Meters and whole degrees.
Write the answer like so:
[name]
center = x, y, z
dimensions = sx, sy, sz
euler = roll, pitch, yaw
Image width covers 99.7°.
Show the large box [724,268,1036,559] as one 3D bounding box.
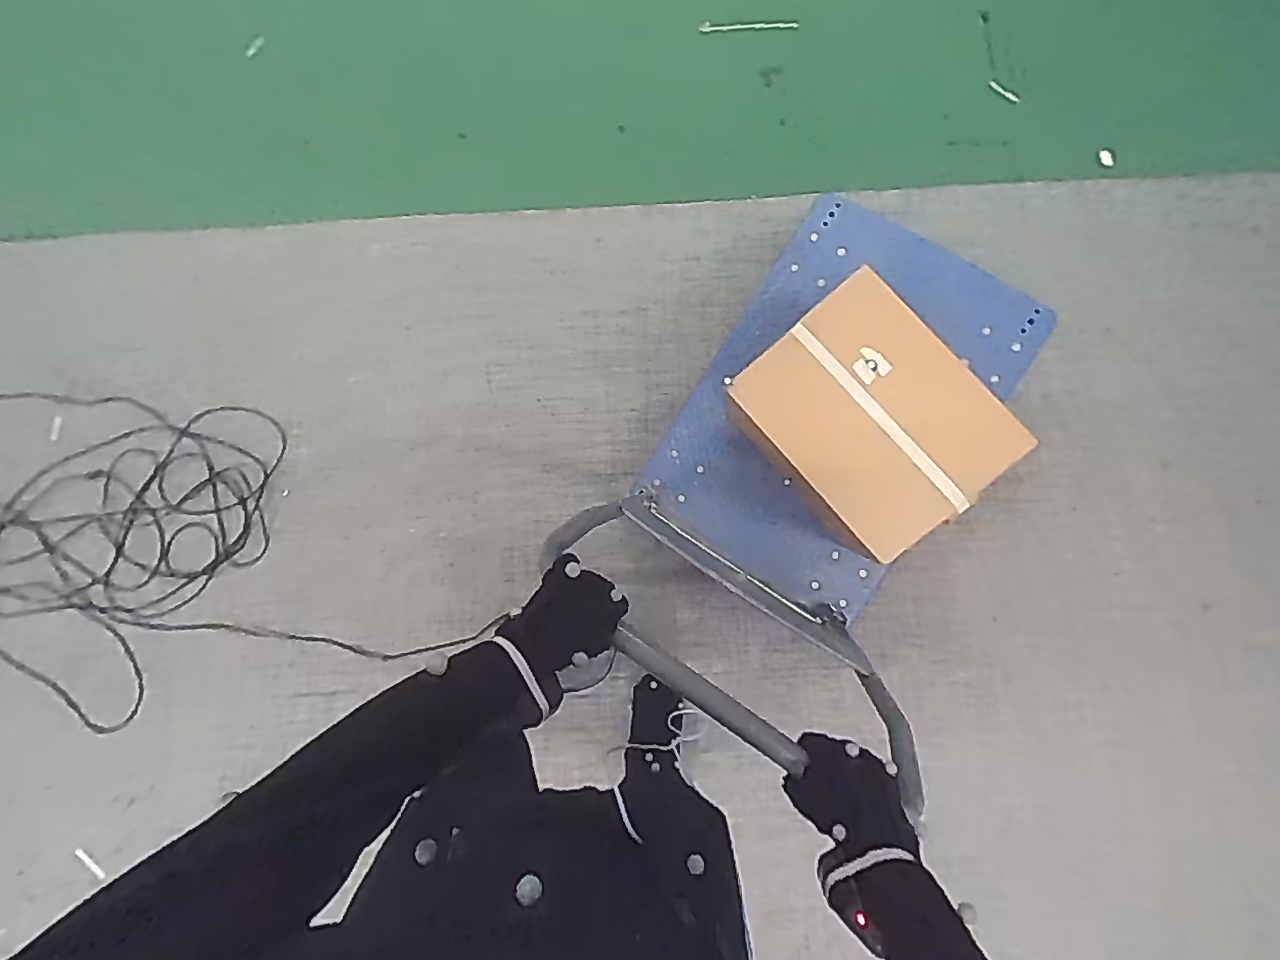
[large box]
center = 0.416, -0.109, 1.042
dimensions = 0.320, 0.320, 0.408
euler = -41, 82, 7
